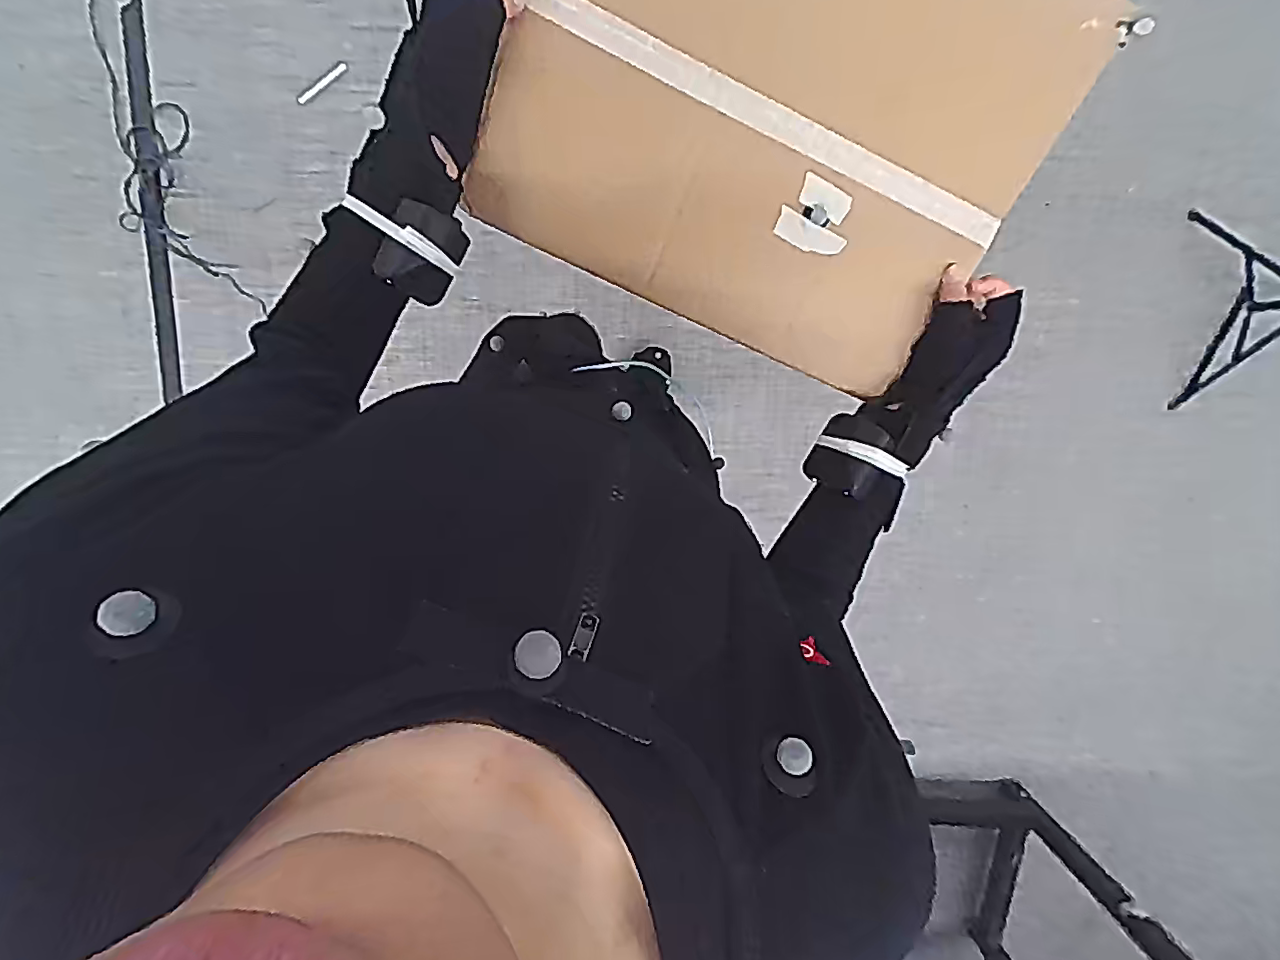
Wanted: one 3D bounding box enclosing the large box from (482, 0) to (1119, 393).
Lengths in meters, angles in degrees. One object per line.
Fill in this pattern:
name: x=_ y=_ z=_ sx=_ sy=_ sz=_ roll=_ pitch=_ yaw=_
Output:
large box: x=0.109 y=-0.340 z=0.555 sx=0.408 sy=0.320 sz=0.320 roll=23 pitch=114 yaw=-8
